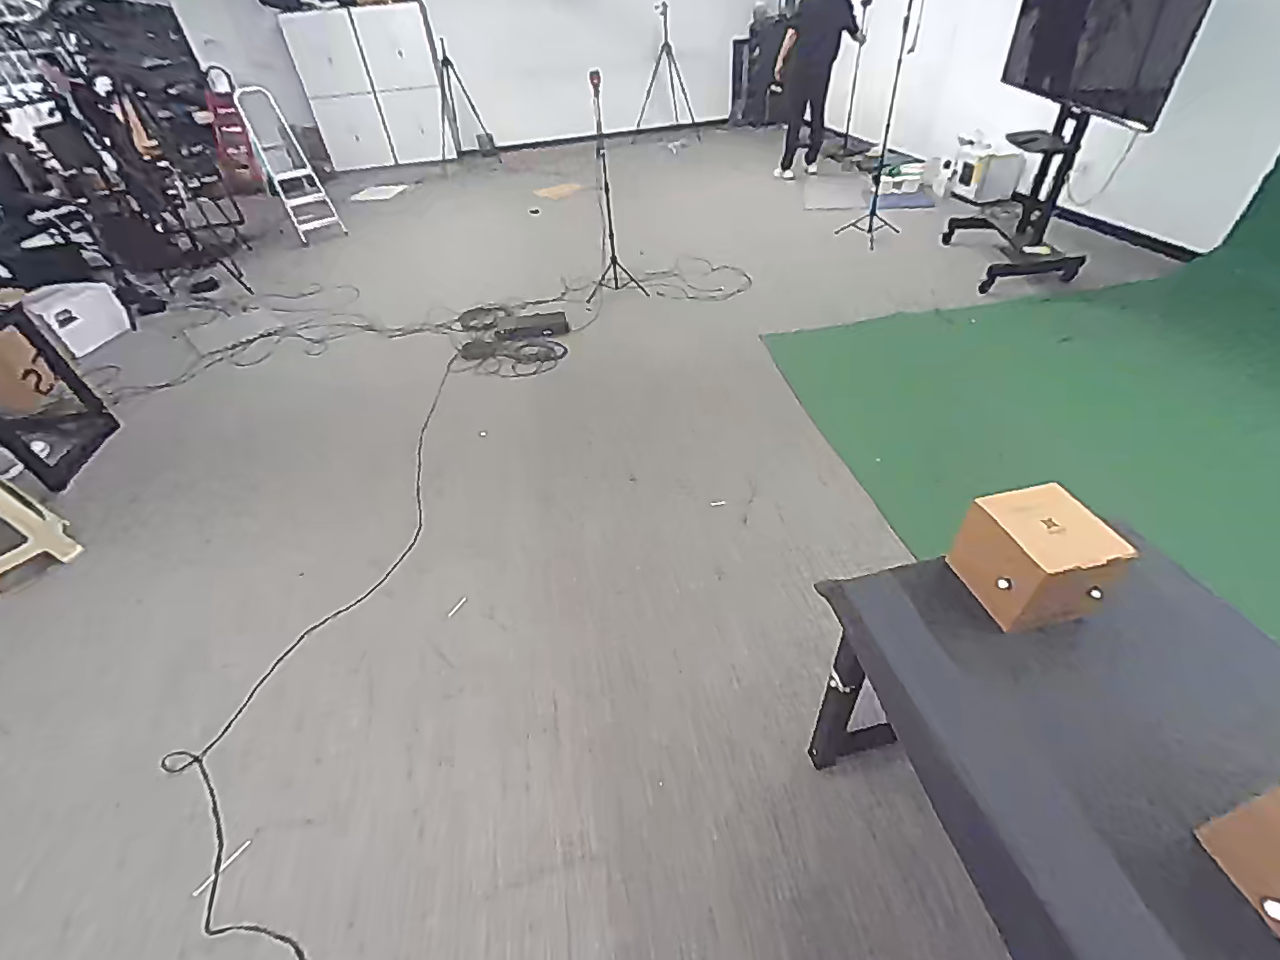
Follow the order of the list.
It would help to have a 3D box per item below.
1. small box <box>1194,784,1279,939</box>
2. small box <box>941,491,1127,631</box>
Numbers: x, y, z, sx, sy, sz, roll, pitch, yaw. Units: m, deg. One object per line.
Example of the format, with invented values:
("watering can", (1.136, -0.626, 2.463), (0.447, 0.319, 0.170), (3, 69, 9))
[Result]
("small box", (0.808, 0.442, 0.599), (0.168, 0.176, 0.179), (-9, 41, -7))
("small box", (0.680, 0.148, 0.958), (0.168, 0.176, 0.179), (-9, 39, -10))
